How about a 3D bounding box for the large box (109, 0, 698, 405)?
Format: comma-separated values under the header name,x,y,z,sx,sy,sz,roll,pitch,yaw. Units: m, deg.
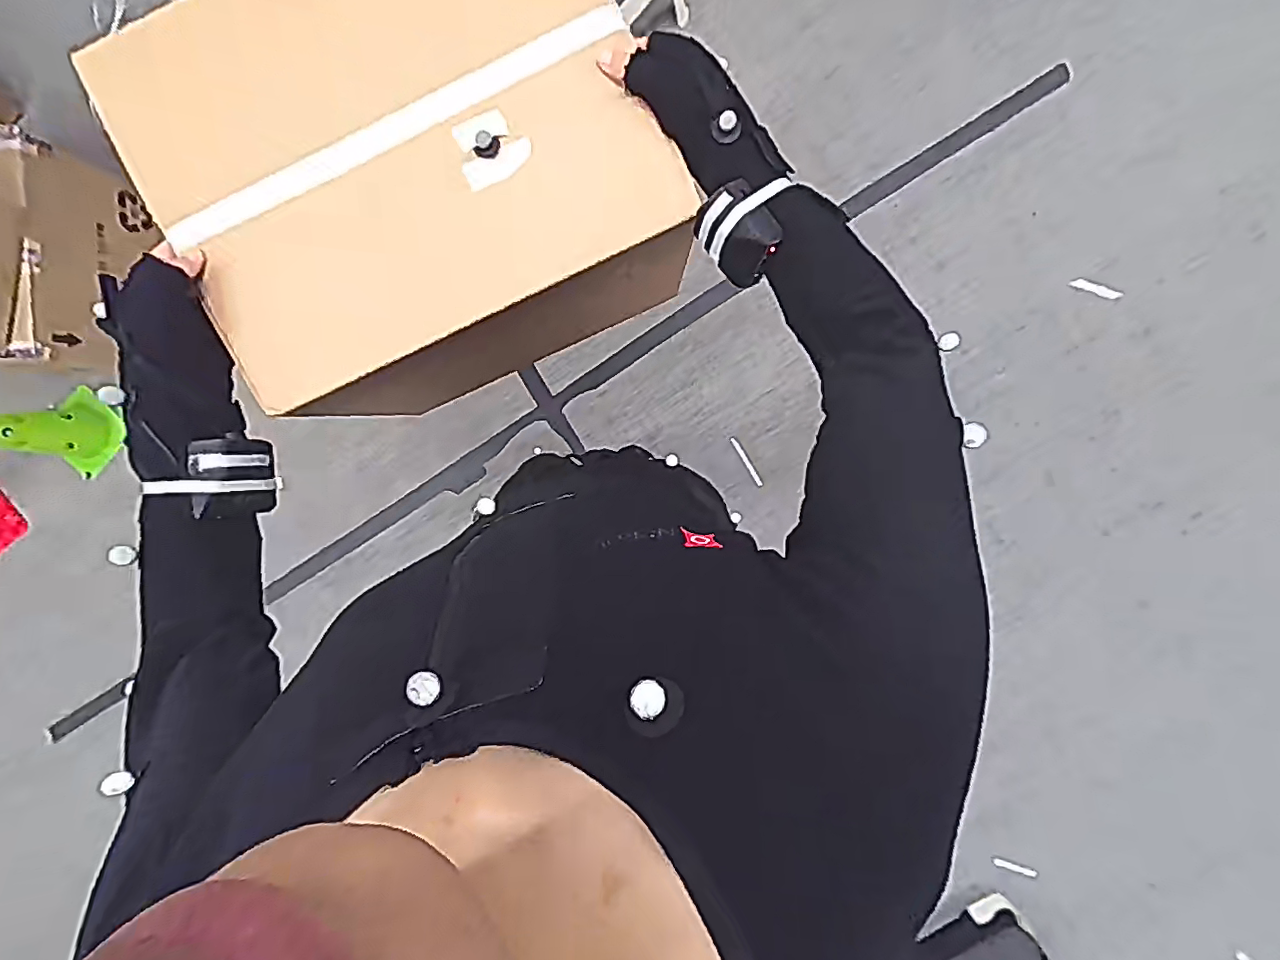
name,x,y,z,sx,sy,sz,roll,pitch,yaw
large box,-0.191,-0.305,0.588,0.408,0.320,0.320,-24,97,3
